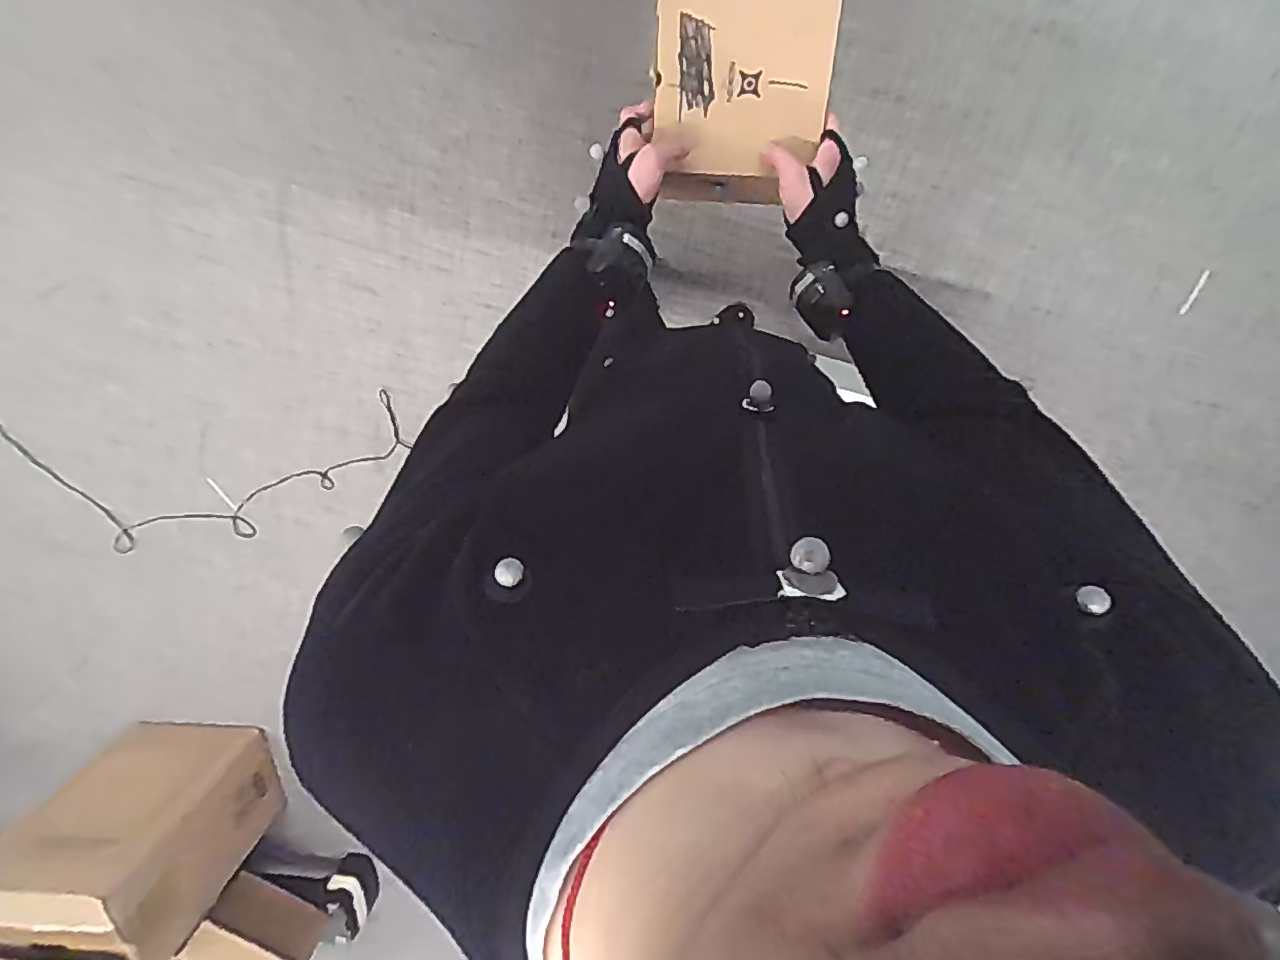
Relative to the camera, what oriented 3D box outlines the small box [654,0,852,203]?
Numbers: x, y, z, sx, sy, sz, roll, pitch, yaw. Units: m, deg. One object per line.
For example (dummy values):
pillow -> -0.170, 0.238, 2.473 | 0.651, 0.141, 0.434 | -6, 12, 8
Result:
small box -> 0.107, -0.411, 0.591 | 0.179, 0.176, 0.168 | 3, 108, 0
